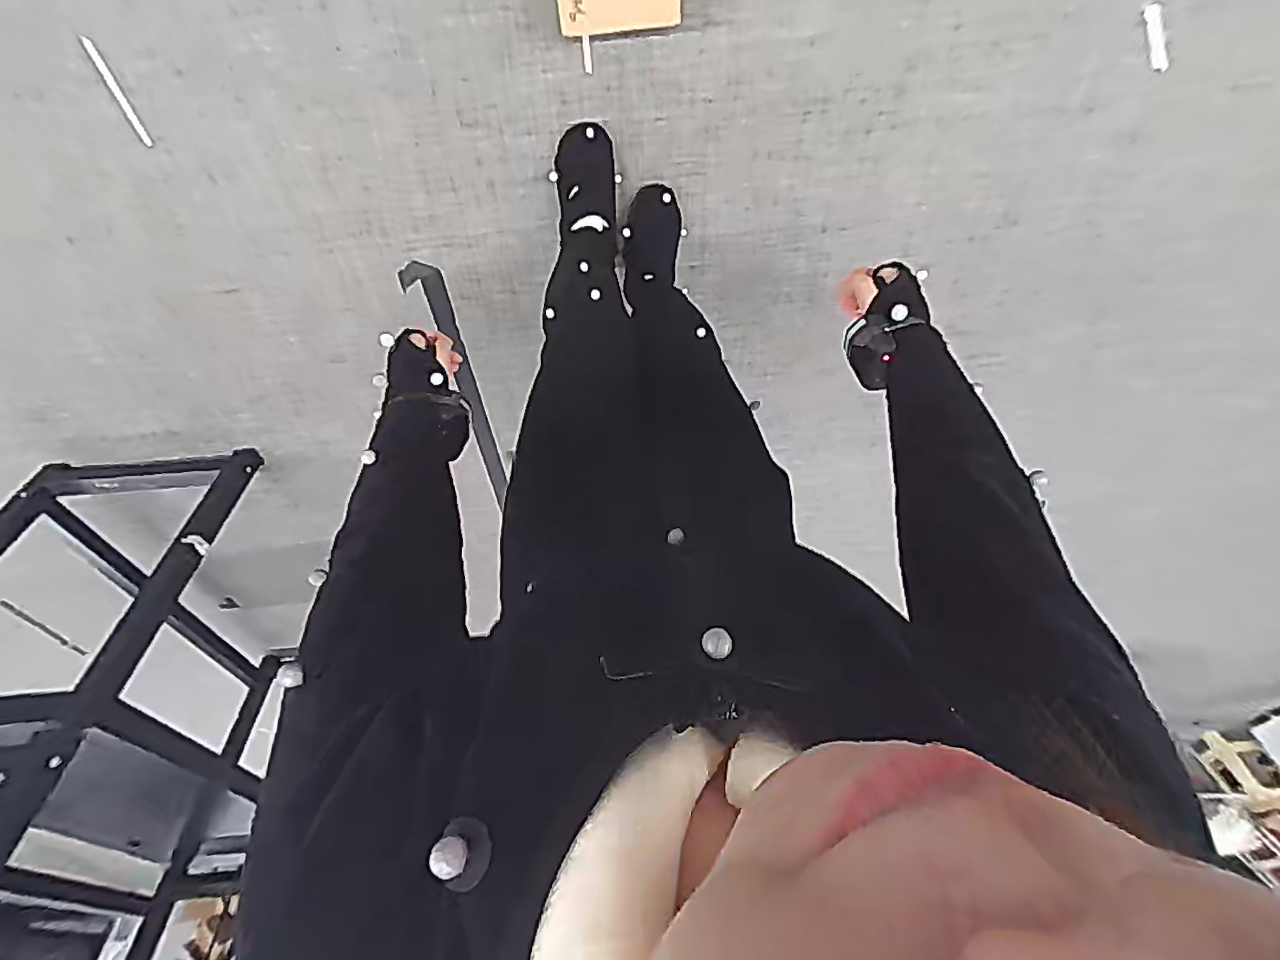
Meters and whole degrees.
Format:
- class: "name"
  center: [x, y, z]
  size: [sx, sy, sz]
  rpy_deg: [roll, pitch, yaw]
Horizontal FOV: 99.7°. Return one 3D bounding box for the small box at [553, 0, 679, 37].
- class: "small box"
  center: [-0.043, -0.755, 0.770]
  size: [0.179, 0.176, 0.168]
  rpy_deg: [-6, 136, -1]
